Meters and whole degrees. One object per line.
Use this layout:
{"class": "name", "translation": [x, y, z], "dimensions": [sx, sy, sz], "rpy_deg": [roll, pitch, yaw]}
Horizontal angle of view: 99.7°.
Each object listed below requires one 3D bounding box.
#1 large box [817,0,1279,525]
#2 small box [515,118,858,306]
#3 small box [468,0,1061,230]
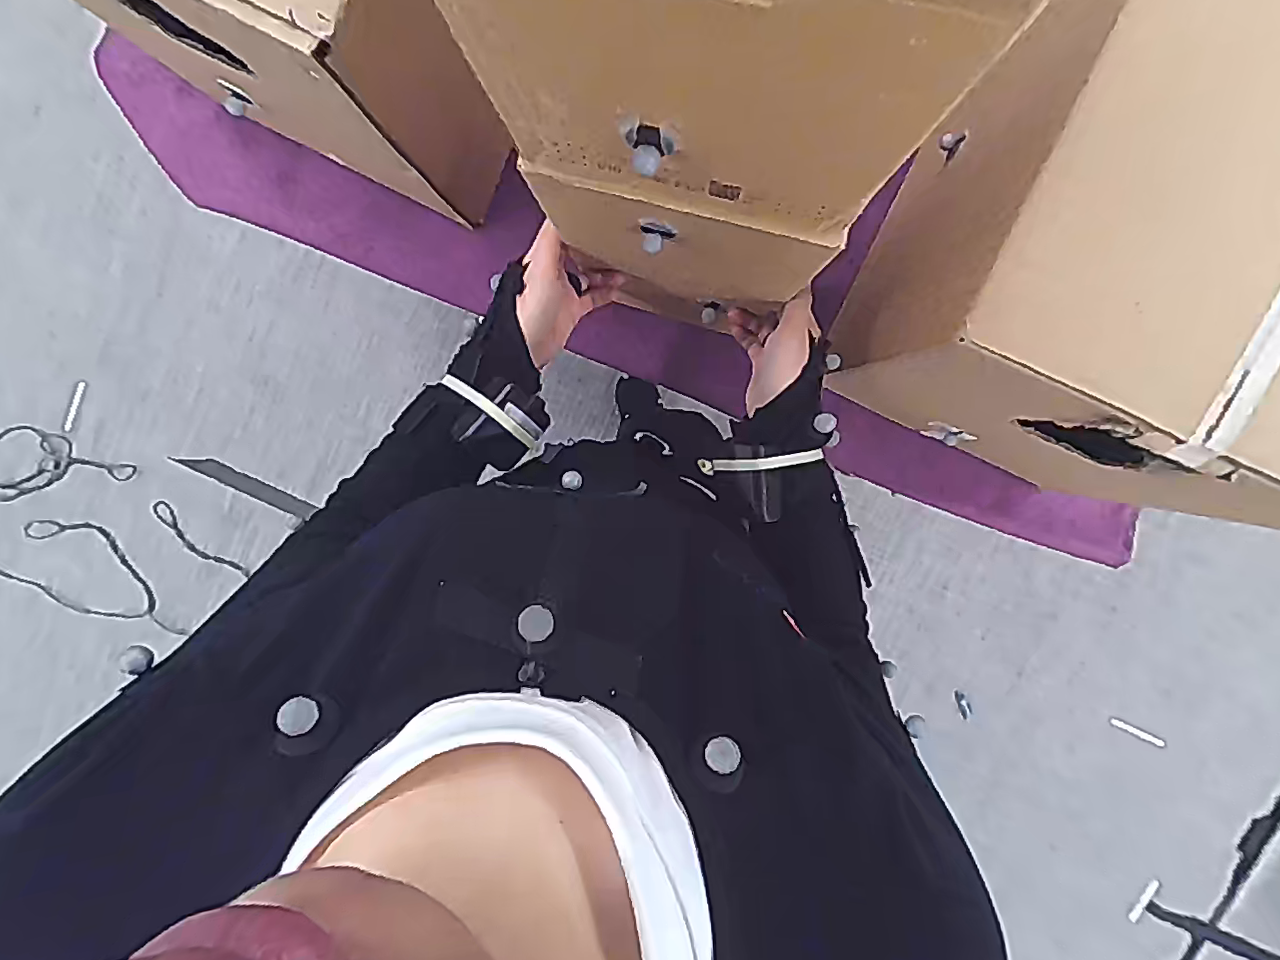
{"class": "large box", "translation": [0.405, -0.211, 0.447], "dimensions": [0.320, 0.320, 0.408], "rpy_deg": [24, 95, -2]}
{"class": "small box", "translation": [0.044, -0.221, 0.340], "dimensions": [0.179, 0.176, 0.168], "rpy_deg": [15, 97, 1]}
{"class": "small box", "translation": [0.036, -0.212, 0.178], "dimensions": [0.168, 0.176, 0.179], "rpy_deg": [13, 98, 2]}
